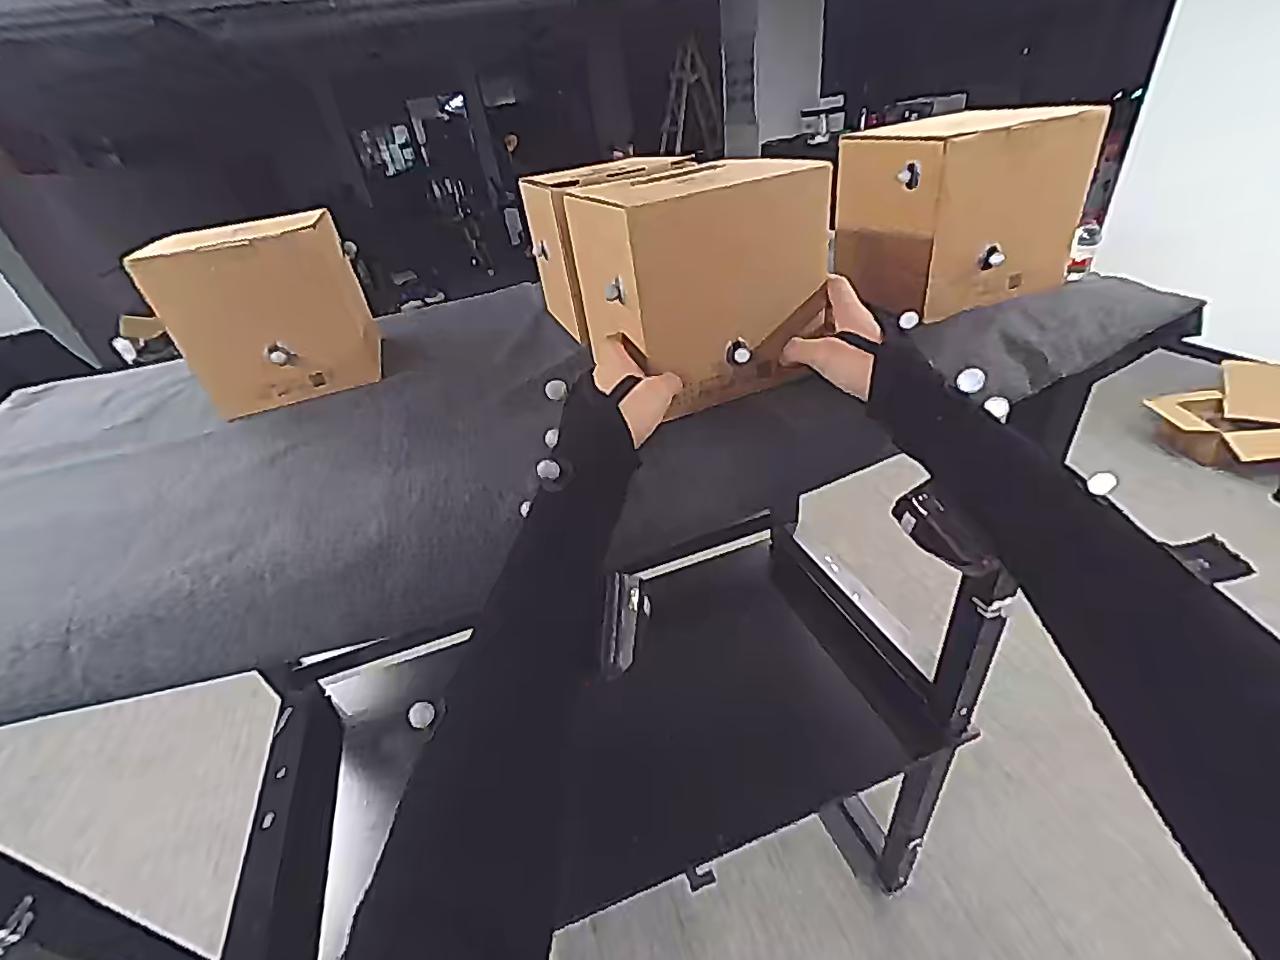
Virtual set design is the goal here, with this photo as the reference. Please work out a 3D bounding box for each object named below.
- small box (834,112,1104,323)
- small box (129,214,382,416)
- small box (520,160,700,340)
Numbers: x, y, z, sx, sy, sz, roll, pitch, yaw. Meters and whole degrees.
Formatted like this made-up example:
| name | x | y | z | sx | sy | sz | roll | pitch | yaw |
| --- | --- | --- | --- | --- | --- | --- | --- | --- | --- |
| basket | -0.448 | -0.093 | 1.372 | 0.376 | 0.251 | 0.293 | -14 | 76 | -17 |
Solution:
| name | x | y | z | sx | sy | sz | roll | pitch | yaw |
| --- | --- | --- | --- | --- | --- | --- | --- | --- | --- |
| small box | 0.328 | -0.285 | 0.587 | 0.168 | 0.176 | 0.179 | -15 | 35 | -7 |
| small box | -0.414 | -0.195 | 0.623 | 0.168 | 0.176 | 0.179 | -19 | 36 | -14 |
| small box | -0.035 | -0.285 | 0.671 | 0.168 | 0.176 | 0.179 | -18 | 34 | -14 |
